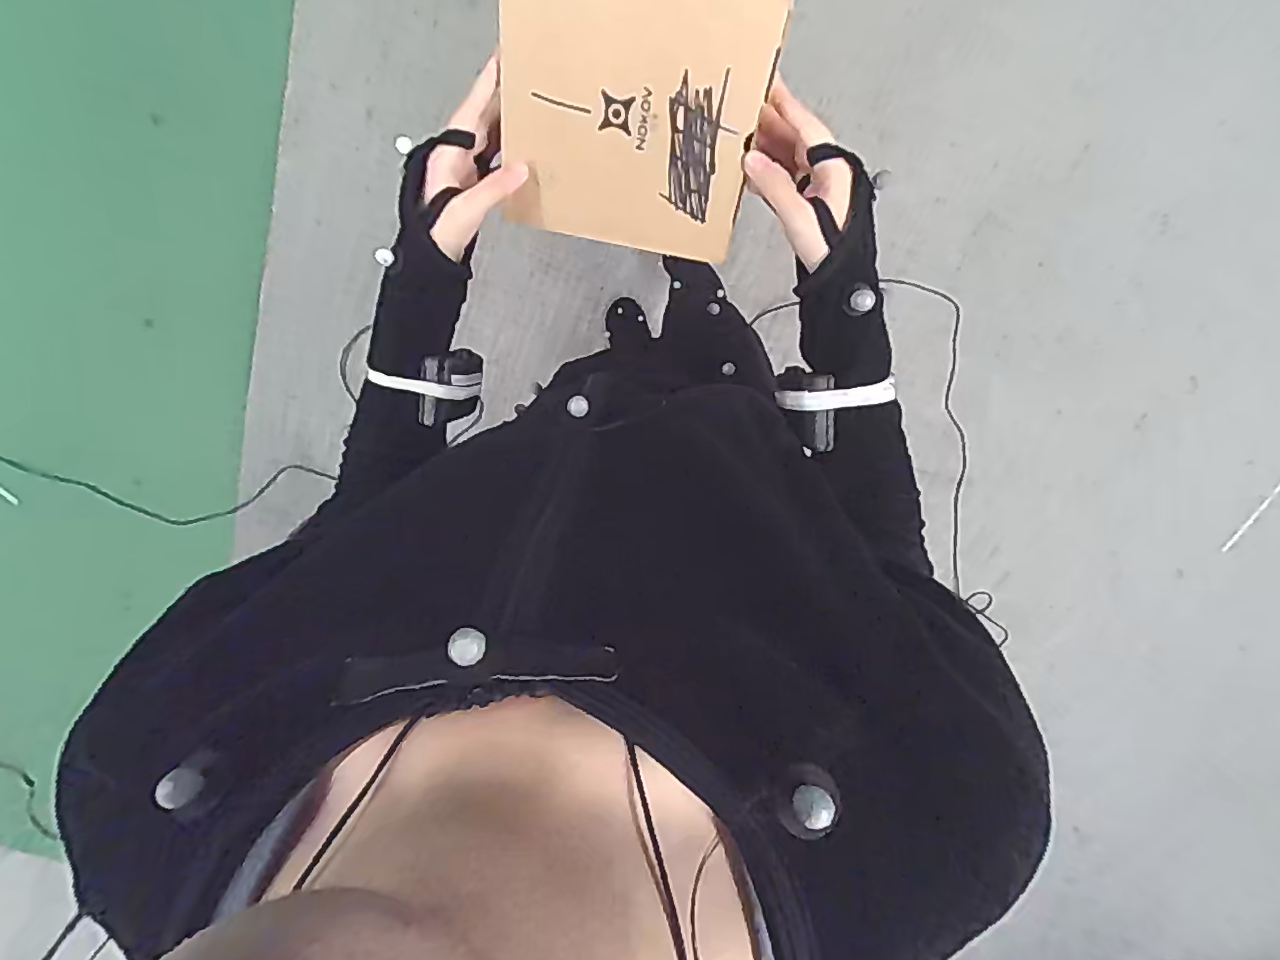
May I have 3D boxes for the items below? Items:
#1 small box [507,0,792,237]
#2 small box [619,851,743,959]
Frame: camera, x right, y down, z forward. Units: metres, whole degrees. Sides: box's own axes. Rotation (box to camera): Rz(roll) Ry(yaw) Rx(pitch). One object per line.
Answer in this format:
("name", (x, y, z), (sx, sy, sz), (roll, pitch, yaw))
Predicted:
("small box", (0.005, -0.315, 0.421), (0.179, 0.176, 0.168), (11, 131, -1))
("small box", (0.079, 0.843, 1.011), (0.179, 0.176, 0.168), (32, 109, -9))
